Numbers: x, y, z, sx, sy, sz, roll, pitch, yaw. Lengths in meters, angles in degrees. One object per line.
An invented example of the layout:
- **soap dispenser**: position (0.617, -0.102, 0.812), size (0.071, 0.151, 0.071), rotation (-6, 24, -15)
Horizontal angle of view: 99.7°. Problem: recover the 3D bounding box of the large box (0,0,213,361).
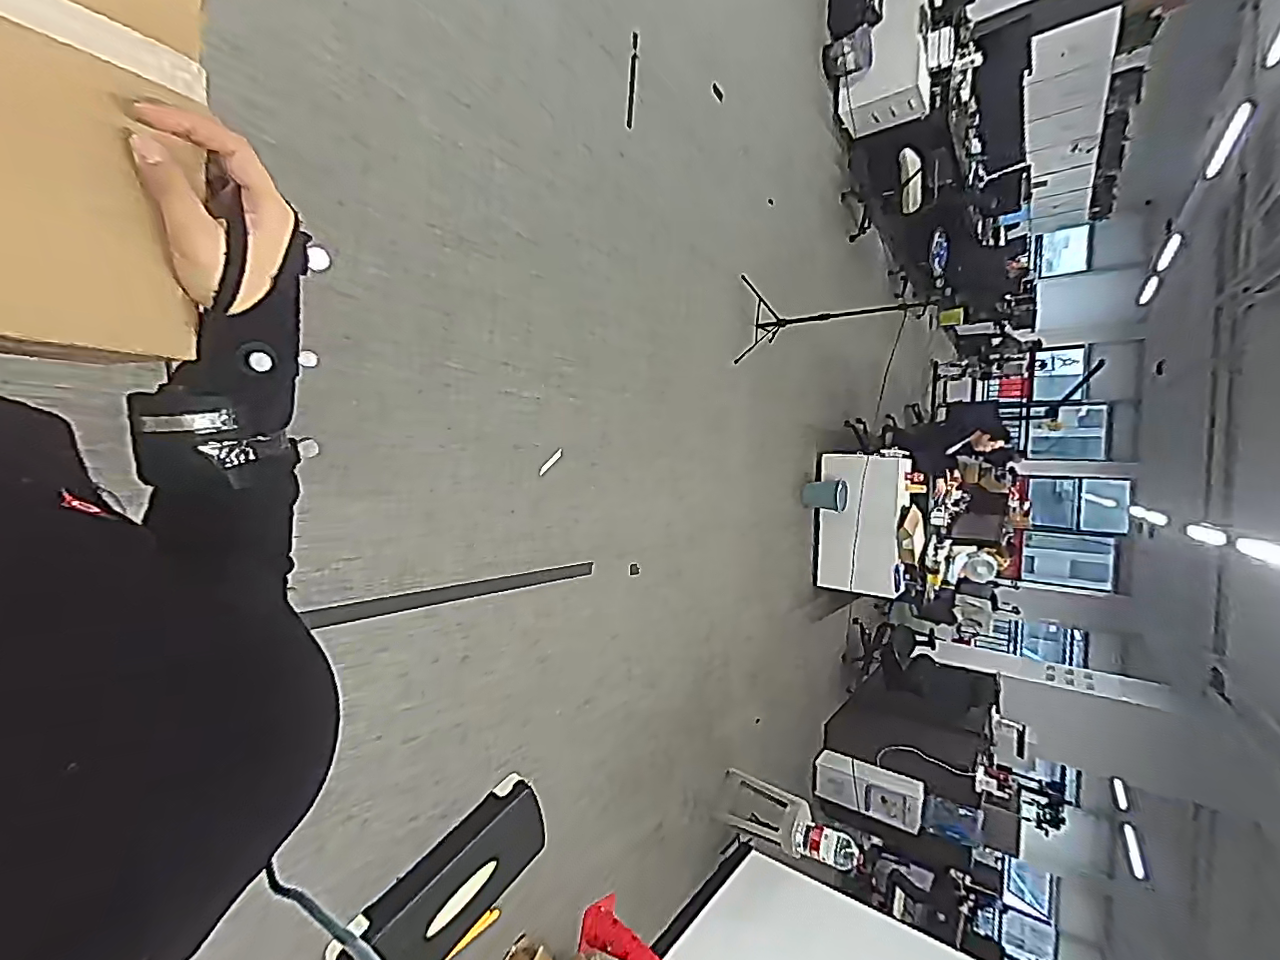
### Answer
- **large box**: position (-0.499, -0.241, 0.261), size (0.408, 0.320, 0.320), rotation (-1, 99, -52)
